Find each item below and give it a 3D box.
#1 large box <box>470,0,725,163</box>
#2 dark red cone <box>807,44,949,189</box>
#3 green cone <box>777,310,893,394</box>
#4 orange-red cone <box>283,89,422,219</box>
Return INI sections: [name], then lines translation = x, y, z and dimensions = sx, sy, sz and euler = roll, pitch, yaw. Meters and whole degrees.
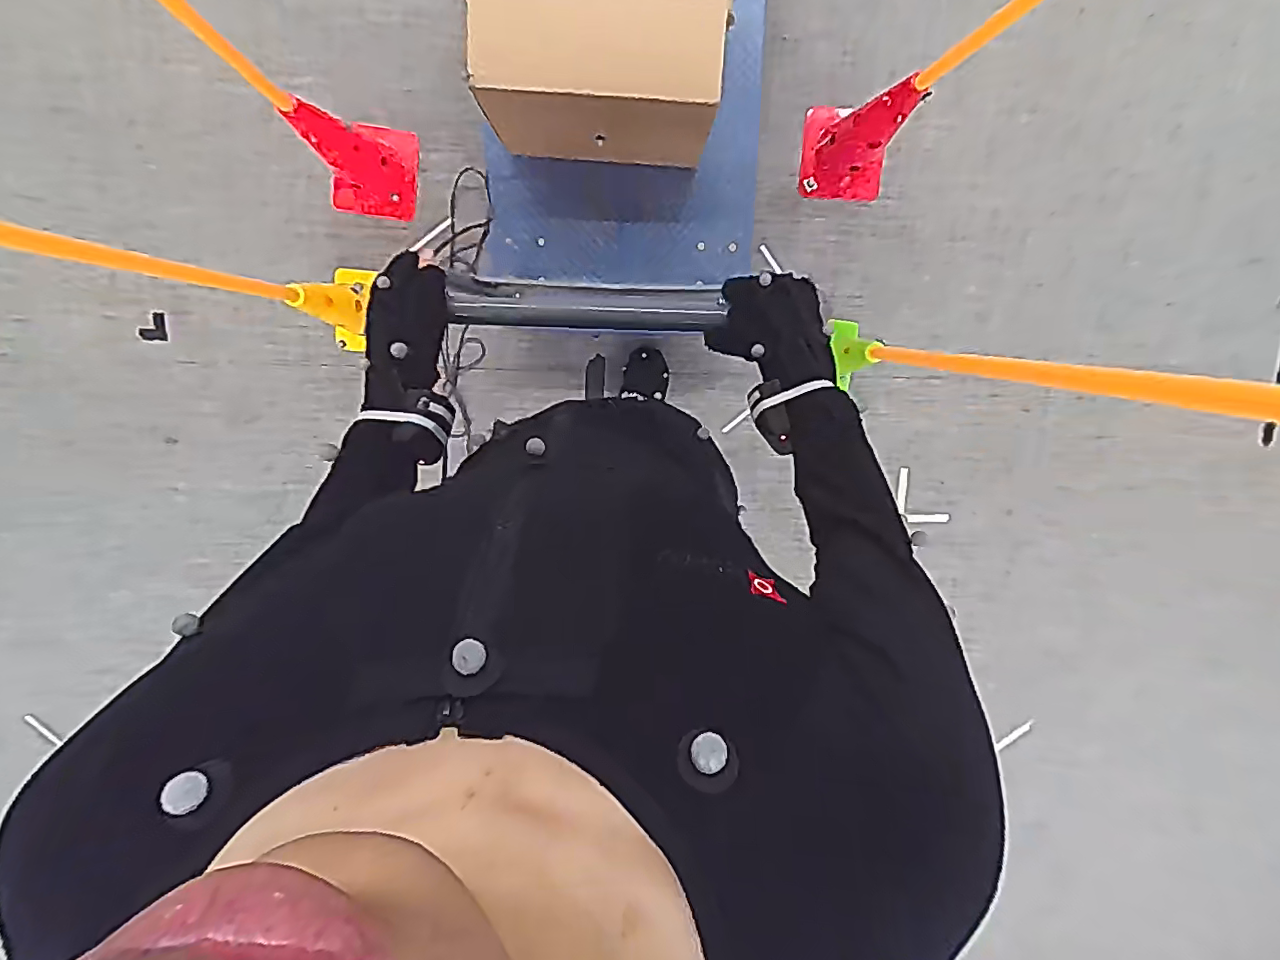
[large box]
translation = -0.064, -0.797, 0.980
dimensions = 0.408, 0.320, 0.320
euler = 3, 103, -1
[dark red cone]
translation = 0.505, -0.766, 1.121
dimensions = 0.201, 0.394, 0.202
euler = 1, 102, -3
[green cone]
translation = 0.469, -0.297, 1.238
dimensions = 0.202, 0.368, 0.200
euler = 5, 102, -3
[orange-red cone]
translation = -0.628, -0.717, 1.138
dimensions = 0.198, 0.360, 0.199
euler = 9, 100, -3
